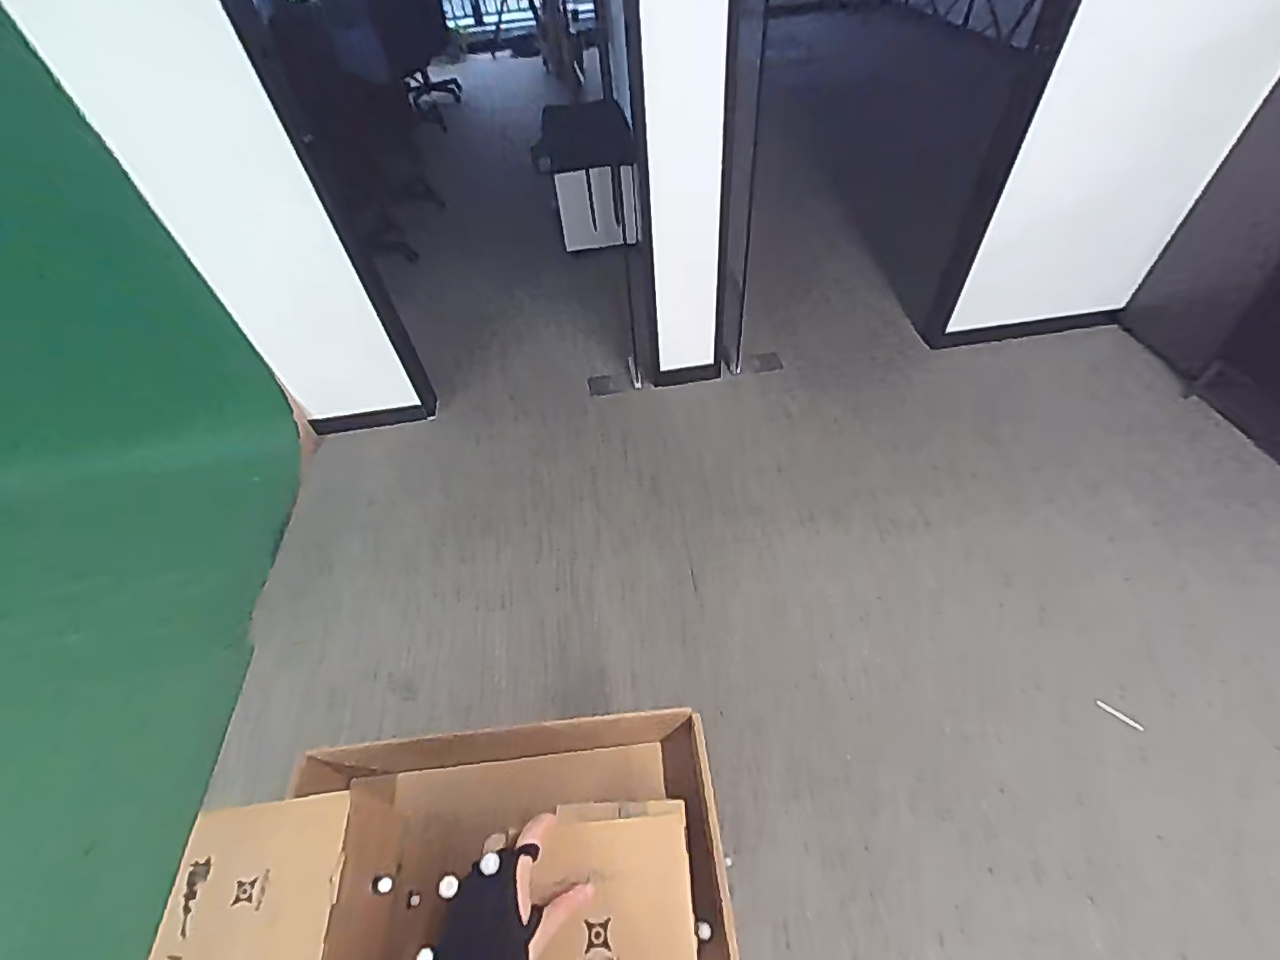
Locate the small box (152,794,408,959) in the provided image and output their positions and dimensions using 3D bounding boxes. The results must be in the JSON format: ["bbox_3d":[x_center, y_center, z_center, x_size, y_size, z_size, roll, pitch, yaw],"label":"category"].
[{"bbox_3d":[-0.389,0.477,0.616,0.179,0.176,0.168,-8,48,-2],"label":"small box"}]

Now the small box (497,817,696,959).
[{"bbox_3d":[-0.032,0.433,0.519,0.168,0.176,0.179,-5,55,1],"label":"small box"}]
